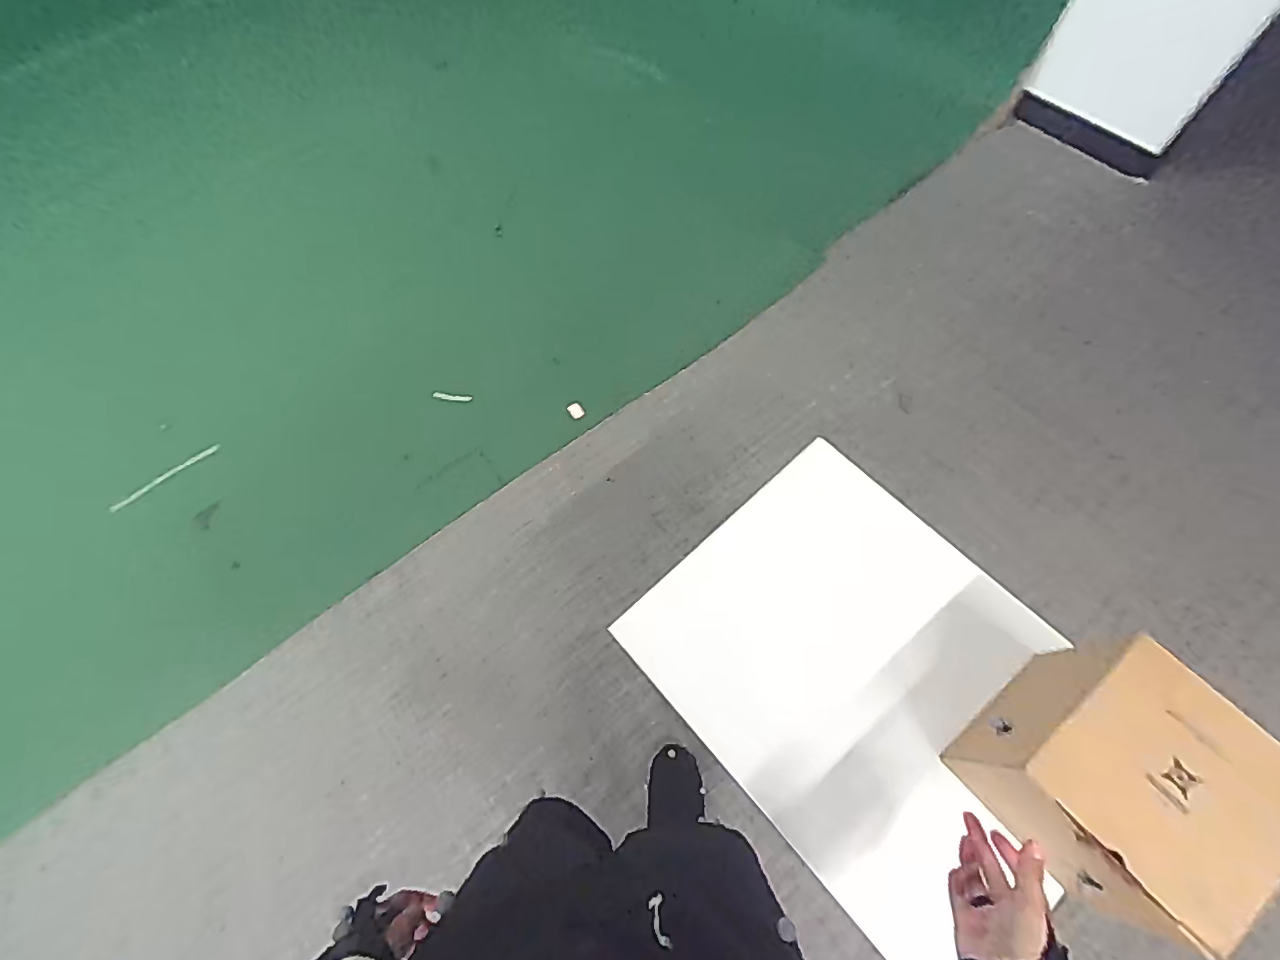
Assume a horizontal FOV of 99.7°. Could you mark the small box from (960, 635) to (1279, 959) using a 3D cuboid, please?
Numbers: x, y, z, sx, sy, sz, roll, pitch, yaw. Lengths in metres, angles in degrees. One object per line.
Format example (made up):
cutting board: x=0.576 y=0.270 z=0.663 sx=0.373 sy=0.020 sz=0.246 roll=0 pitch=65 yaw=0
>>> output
small box: x=0.441 y=0.276 z=0.507 sx=0.179 sy=0.176 sz=0.168 roll=-38 pitch=69 yaw=-12
